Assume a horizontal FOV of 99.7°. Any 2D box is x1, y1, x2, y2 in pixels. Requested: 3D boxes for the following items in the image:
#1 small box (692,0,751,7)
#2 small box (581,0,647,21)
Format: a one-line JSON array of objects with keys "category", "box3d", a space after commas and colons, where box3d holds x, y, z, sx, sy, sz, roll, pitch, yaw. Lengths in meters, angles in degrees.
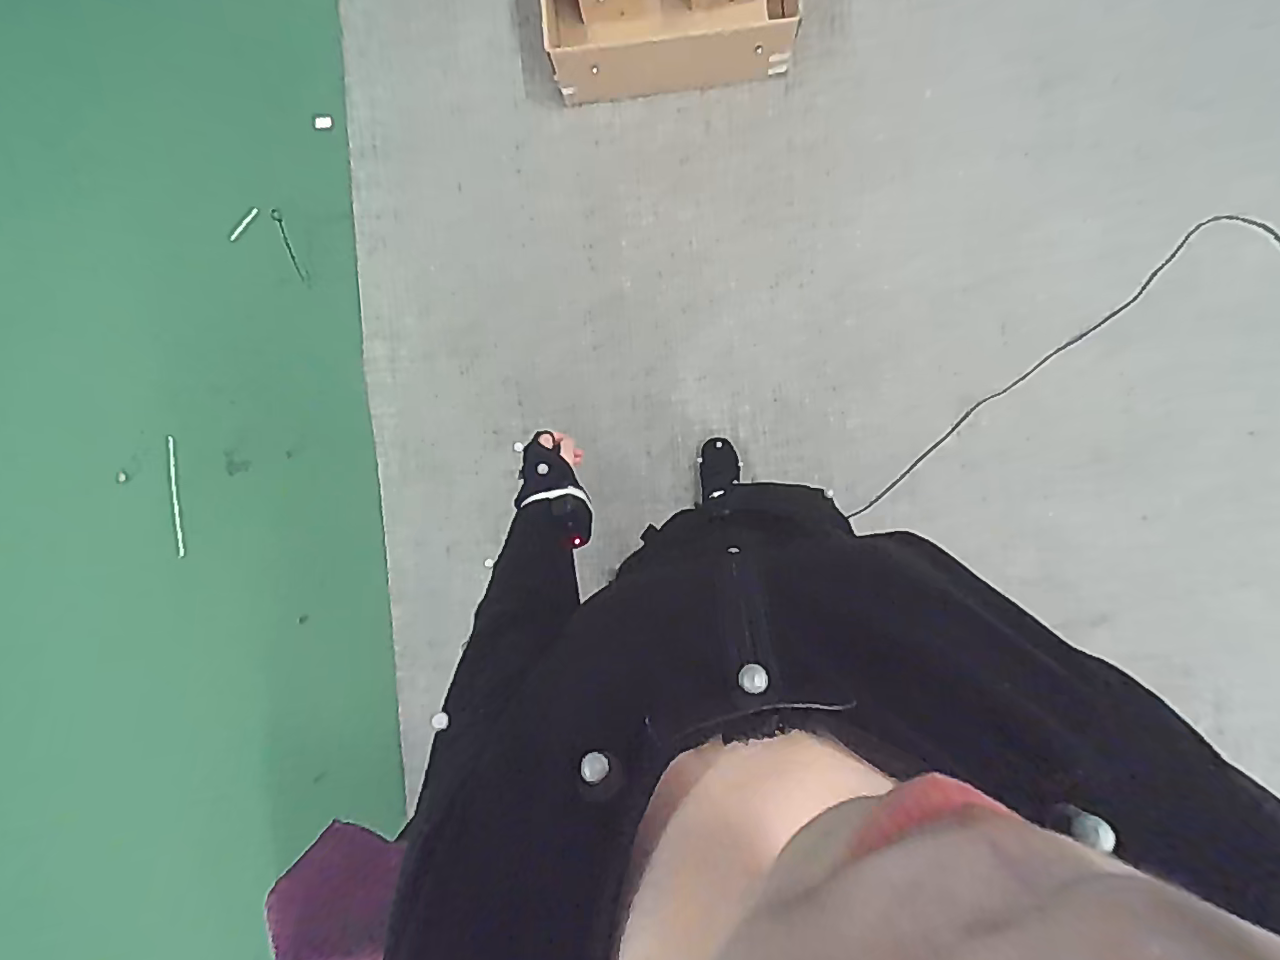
[{"category": "small box", "box3d": [0.203, -1.299, 1.310, 0.168, 0.176, 0.179, -4, 93, 6]}, {"category": "small box", "box3d": [-0.070, -1.282, 1.339, 0.168, 0.176, 0.179, 0, 92, 4]}]
